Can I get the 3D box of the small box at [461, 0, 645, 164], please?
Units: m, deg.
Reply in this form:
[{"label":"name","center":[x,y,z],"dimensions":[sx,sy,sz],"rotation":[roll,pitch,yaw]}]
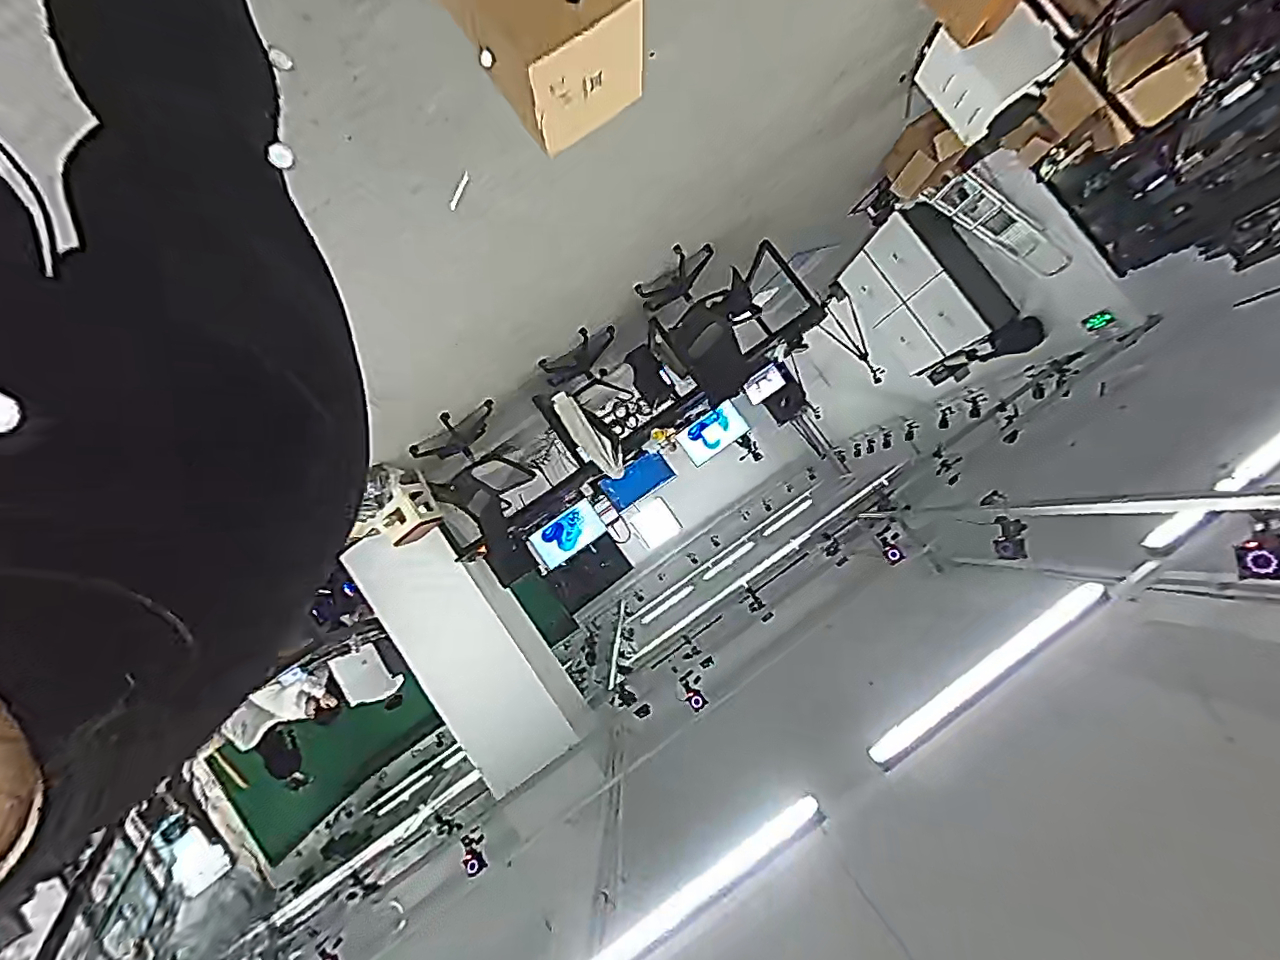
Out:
[{"label":"small box","center":[-0.113,-0.594,0.739],"dimensions":[0.179,0.176,0.168],"rotation":[-35,177,-3]}]
